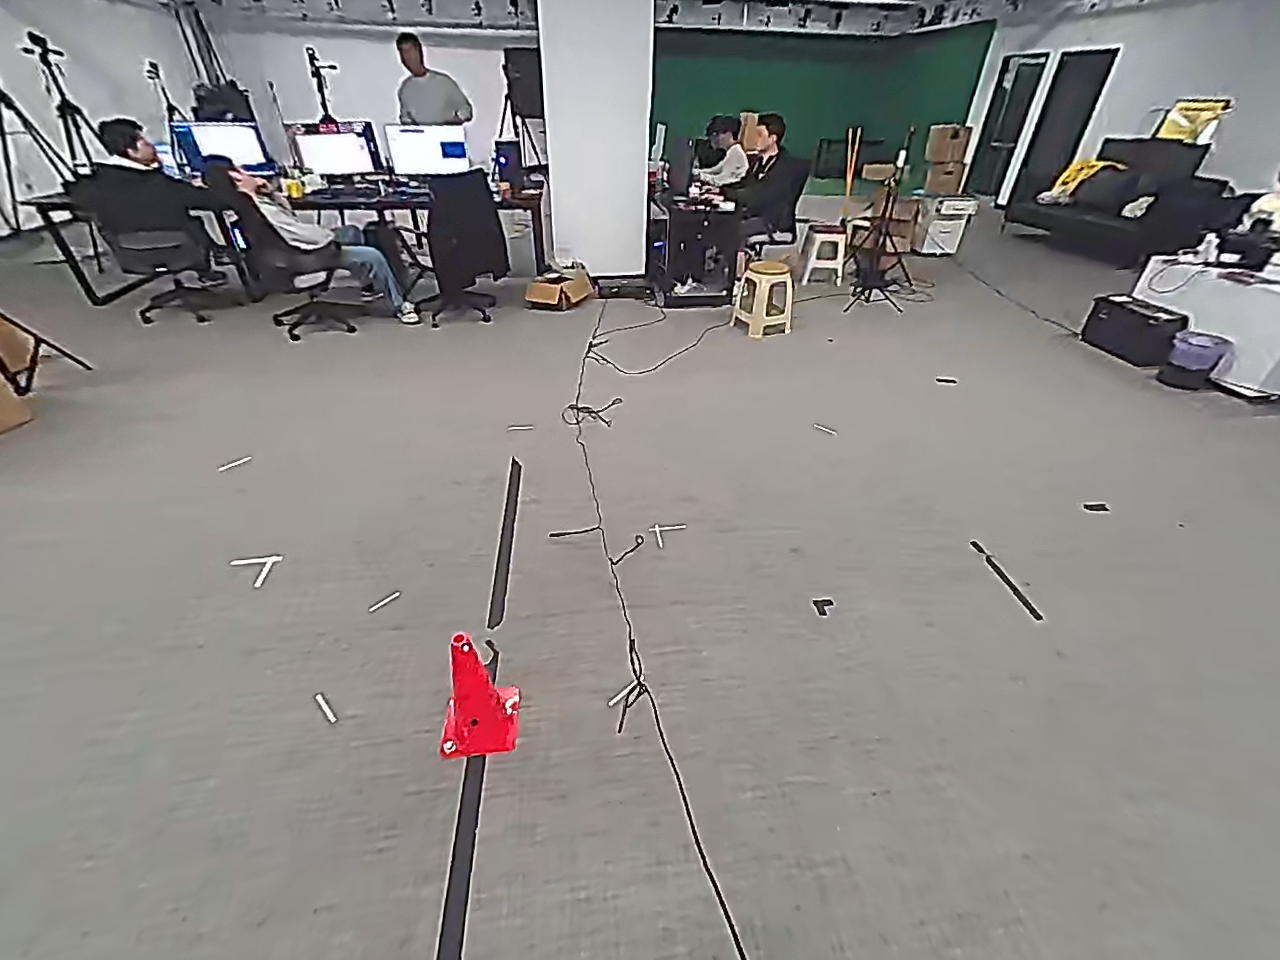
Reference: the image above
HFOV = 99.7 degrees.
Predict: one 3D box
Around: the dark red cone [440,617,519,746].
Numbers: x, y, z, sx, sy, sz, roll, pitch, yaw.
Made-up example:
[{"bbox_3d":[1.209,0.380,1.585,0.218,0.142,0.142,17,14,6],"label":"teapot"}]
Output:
[{"bbox_3d":[-0.434,0.504,1.405,0.201,0.394,0.202,-2,35,-7],"label":"dark red cone"}]
